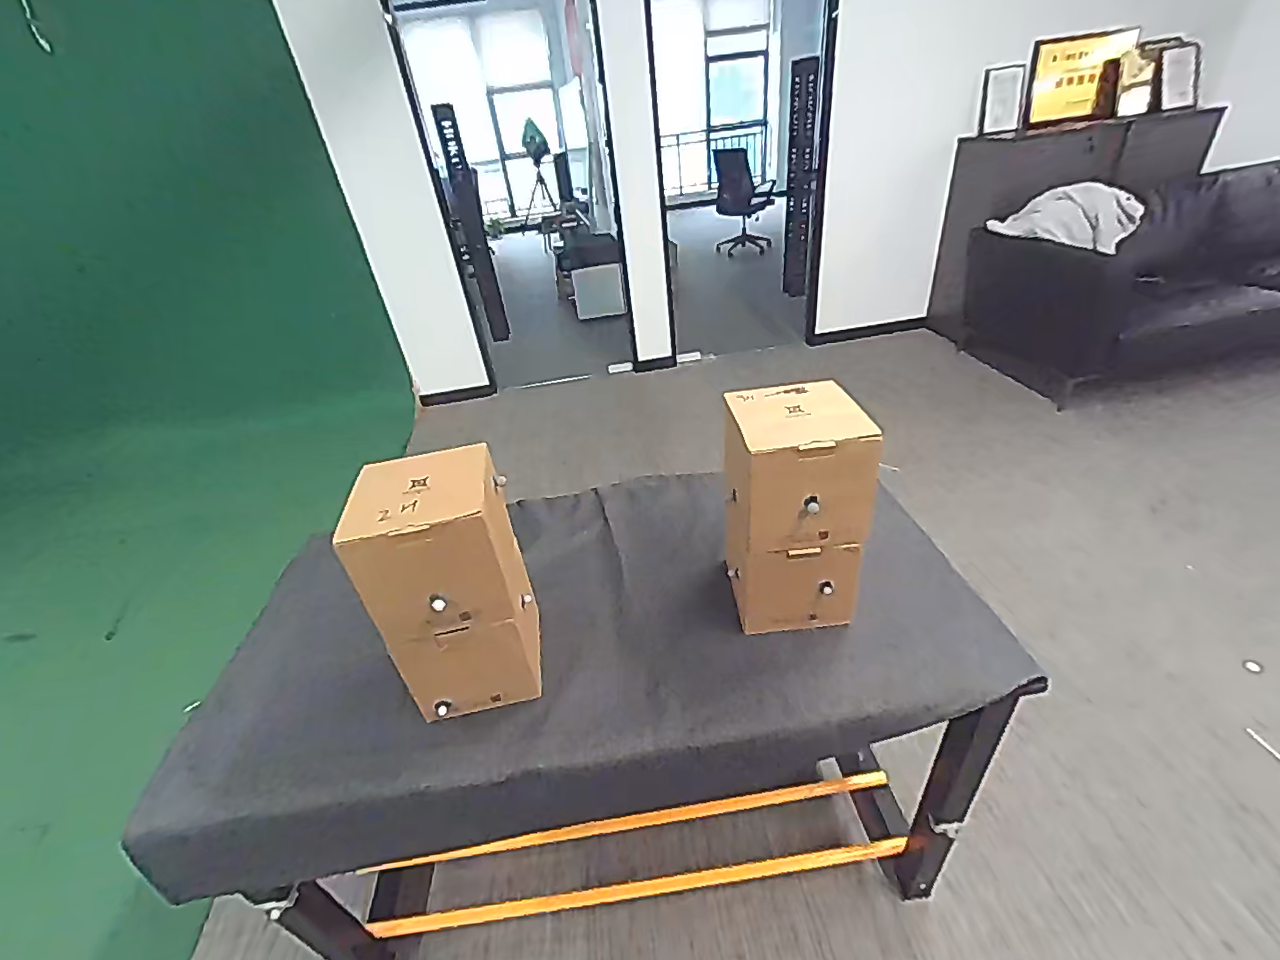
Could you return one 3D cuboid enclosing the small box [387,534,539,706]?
[{"bbox_3d":[-0.246,0.210,0.800,0.168,0.176,0.179,-10,33,-5],"label":"small box"}]

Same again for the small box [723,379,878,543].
[{"bbox_3d":[0.215,-0.024,0.768,0.168,0.176,0.179,-6,34,1],"label":"small box"}]

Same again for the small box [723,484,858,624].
[{"bbox_3d":[0.228,0.113,0.858,0.168,0.176,0.179,-5,33,1],"label":"small box"}]

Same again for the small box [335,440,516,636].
[{"bbox_3d":[-0.263,0.072,0.711,0.168,0.176,0.179,-12,34,-7],"label":"small box"}]
